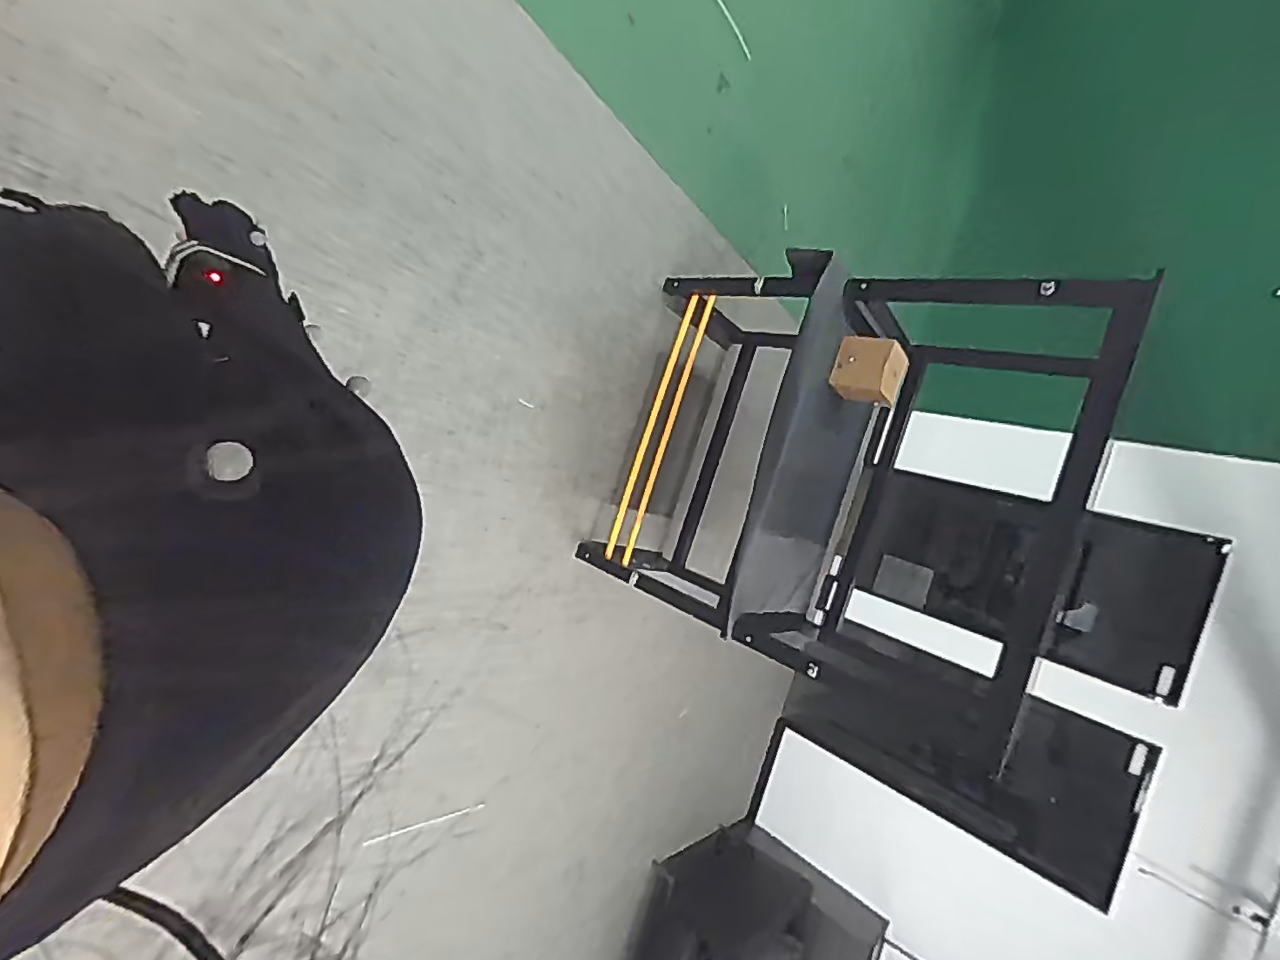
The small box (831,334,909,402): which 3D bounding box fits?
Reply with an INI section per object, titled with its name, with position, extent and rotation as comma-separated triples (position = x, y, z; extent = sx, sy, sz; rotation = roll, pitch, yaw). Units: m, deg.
[small box]
position = 0.755, -0.370, 1.774
extent = 0.179, 0.176, 0.168
rotation = 18, 90, -51
